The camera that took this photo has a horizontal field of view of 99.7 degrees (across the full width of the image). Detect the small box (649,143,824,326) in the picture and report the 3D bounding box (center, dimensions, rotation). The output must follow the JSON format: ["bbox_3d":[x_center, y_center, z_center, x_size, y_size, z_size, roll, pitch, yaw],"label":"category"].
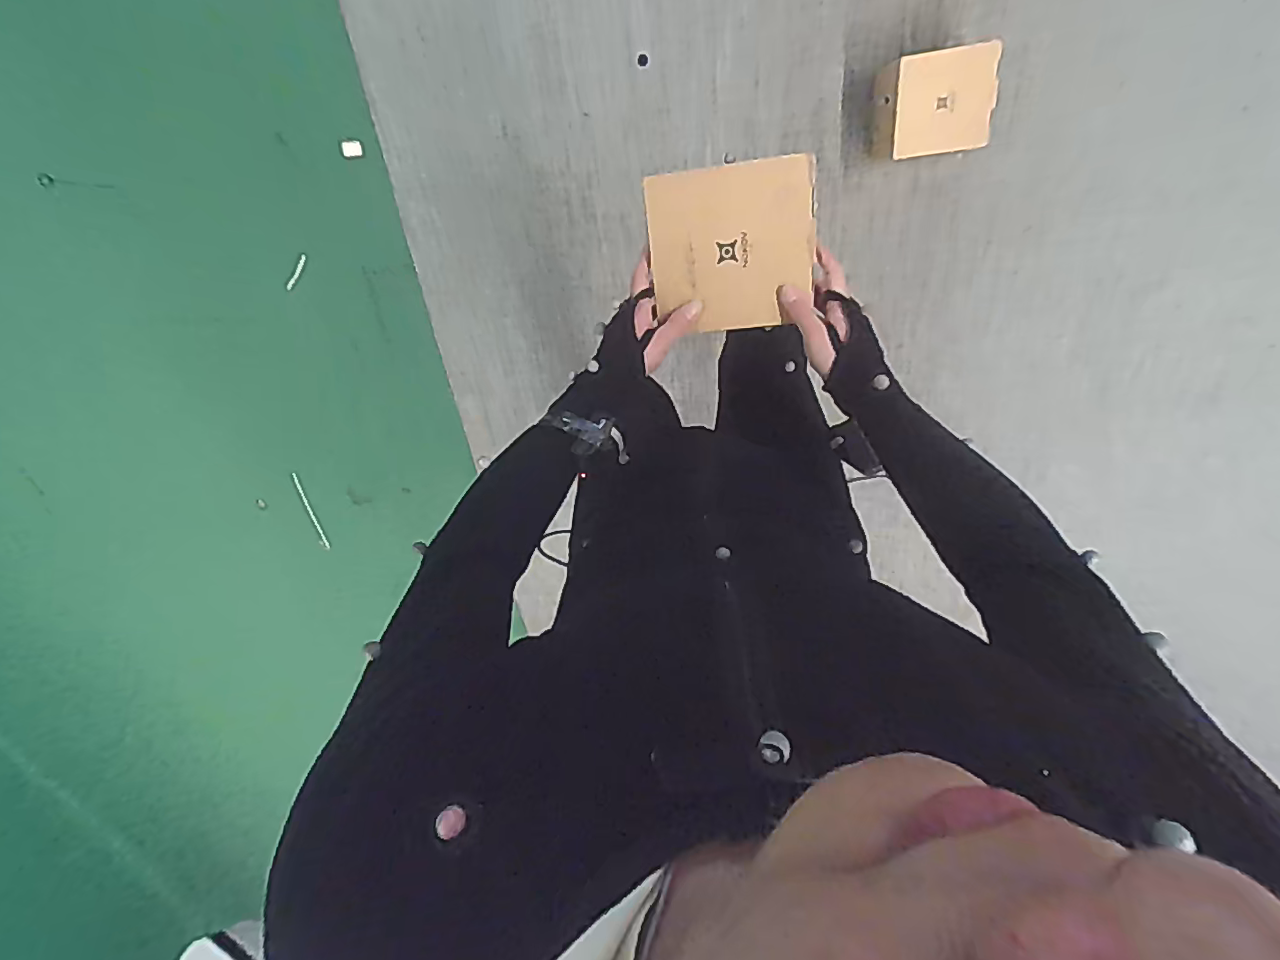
[{"bbox_3d":[0.110,-0.284,0.640,0.179,0.176,0.168,-3,112,9],"label":"small box"}]

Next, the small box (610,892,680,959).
[{"bbox_3d":[0.018,1.222,1.427,0.179,0.176,0.168,1,121,6],"label":"small box"}]

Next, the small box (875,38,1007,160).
[{"bbox_3d":[0.581,-0.743,1.073,0.179,0.176,0.168,-4,119,9],"label":"small box"}]
